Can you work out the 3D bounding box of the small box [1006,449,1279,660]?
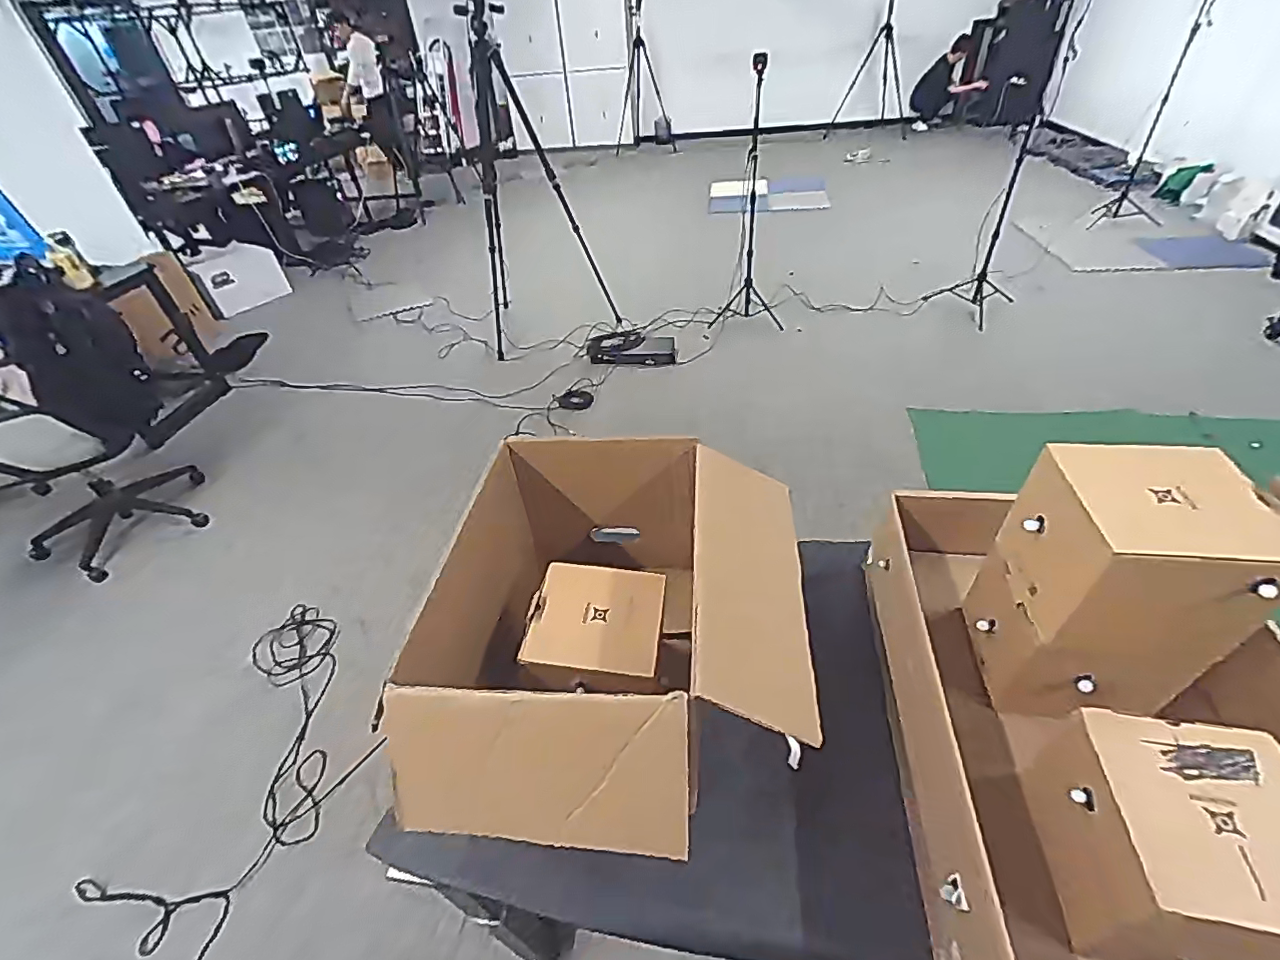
[{"bbox_3d":[0.542,0.083,0.602,0.179,0.176,0.168,2,43,9],"label":"small box"}]
